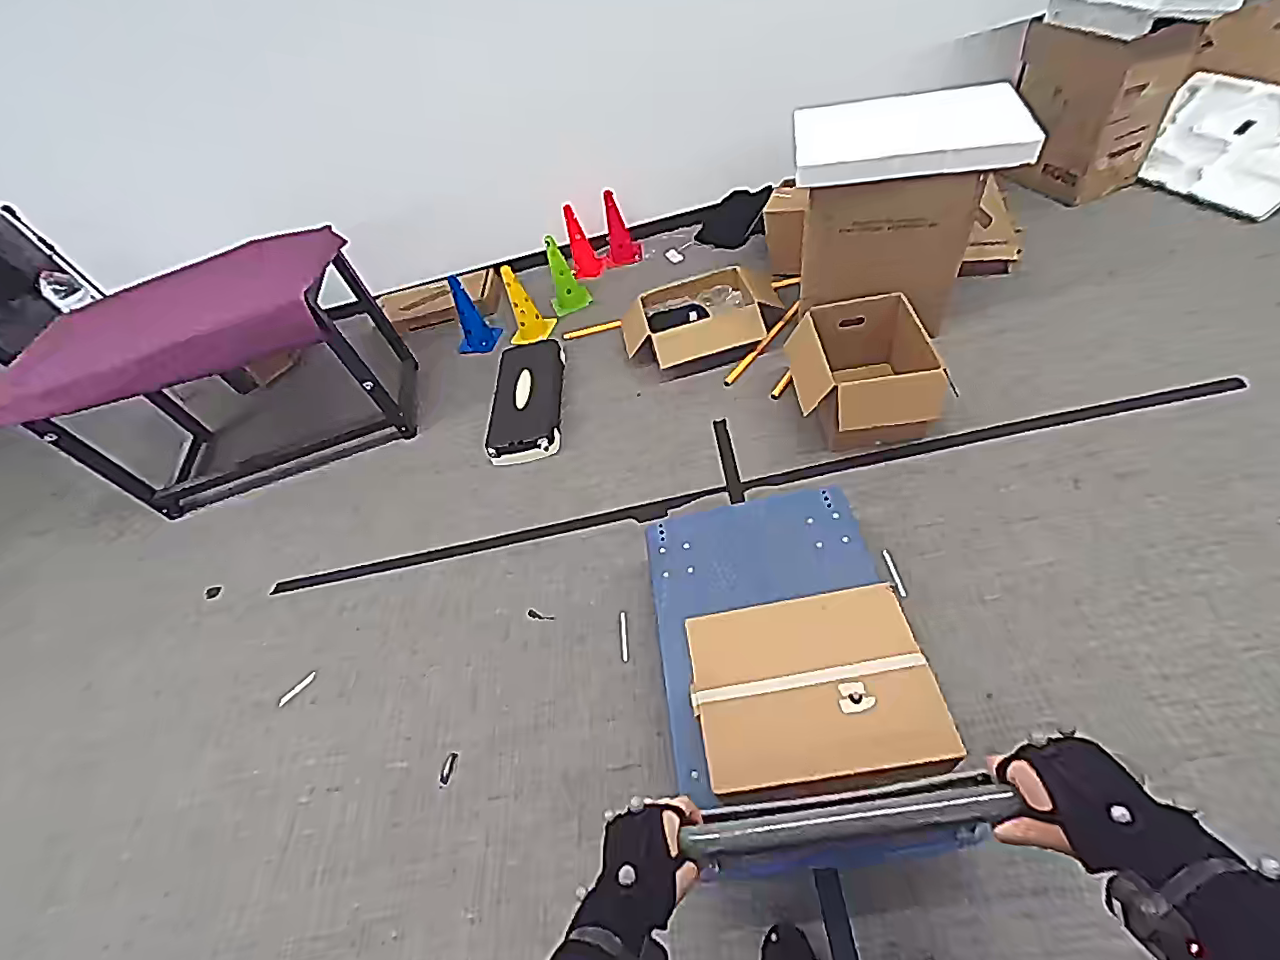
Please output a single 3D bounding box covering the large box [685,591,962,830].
[{"bbox_3d":[0.324,0.460,1.063,0.408,0.320,0.320,-11,49,5],"label":"large box"}]
